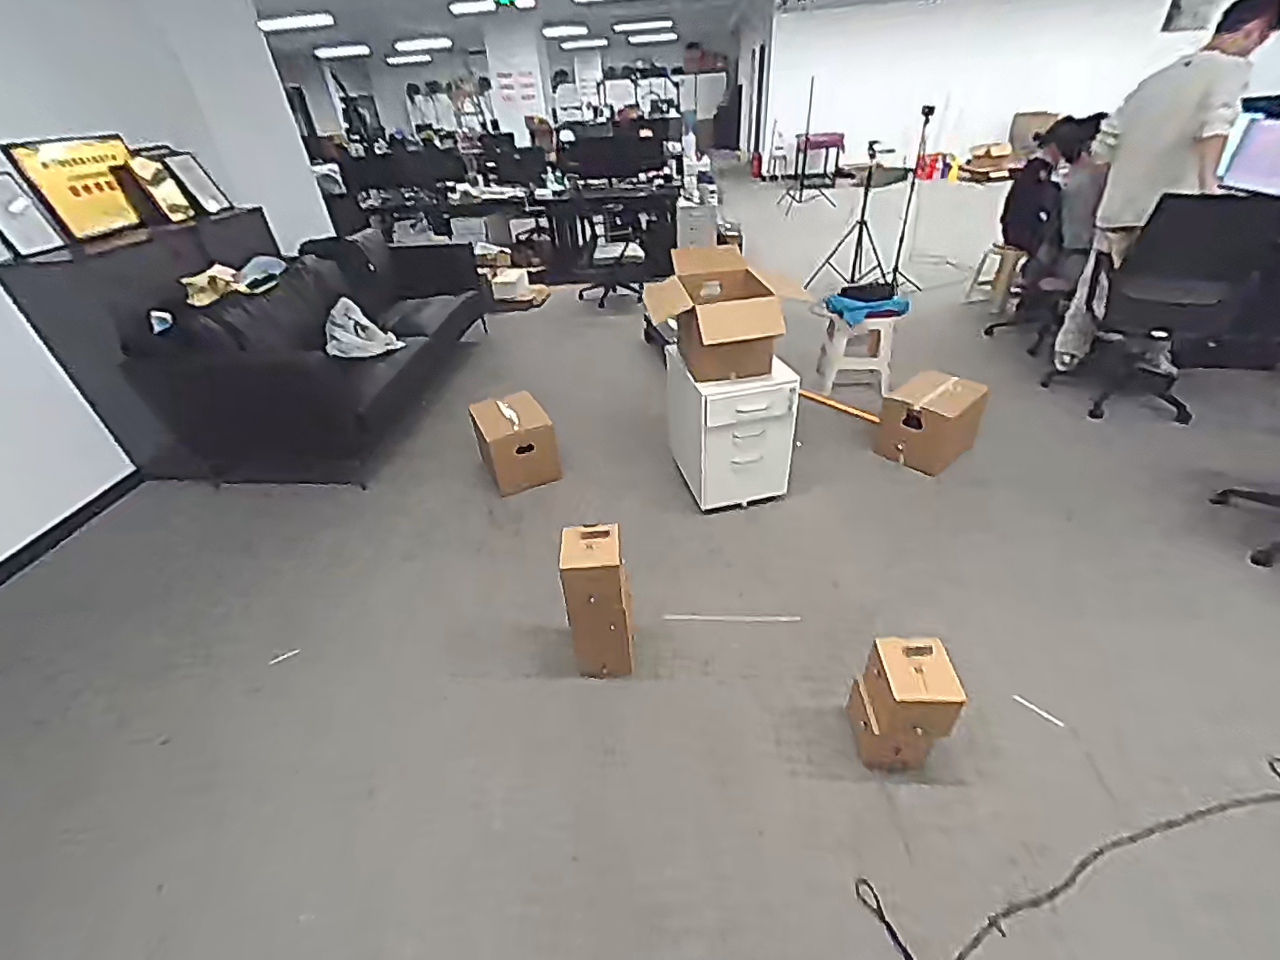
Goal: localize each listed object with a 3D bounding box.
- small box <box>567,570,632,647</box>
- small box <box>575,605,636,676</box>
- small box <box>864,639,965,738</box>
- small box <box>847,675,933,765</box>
[{"bbox_3d":[-0.119,0.398,1.670,0.179,0.176,0.168,-4,34,3],"label":"small box"},{"bbox_3d":[-0.108,0.524,1.773,0.179,0.176,0.168,-1,35,4],"label":"small box"},{"bbox_3d":[0.686,0.529,1.378,0.168,0.176,0.179,-2,37,5],"label":"small box"},{"bbox_3d":[0.682,0.658,1.480,0.168,0.176,0.179,-1,36,4],"label":"small box"}]
